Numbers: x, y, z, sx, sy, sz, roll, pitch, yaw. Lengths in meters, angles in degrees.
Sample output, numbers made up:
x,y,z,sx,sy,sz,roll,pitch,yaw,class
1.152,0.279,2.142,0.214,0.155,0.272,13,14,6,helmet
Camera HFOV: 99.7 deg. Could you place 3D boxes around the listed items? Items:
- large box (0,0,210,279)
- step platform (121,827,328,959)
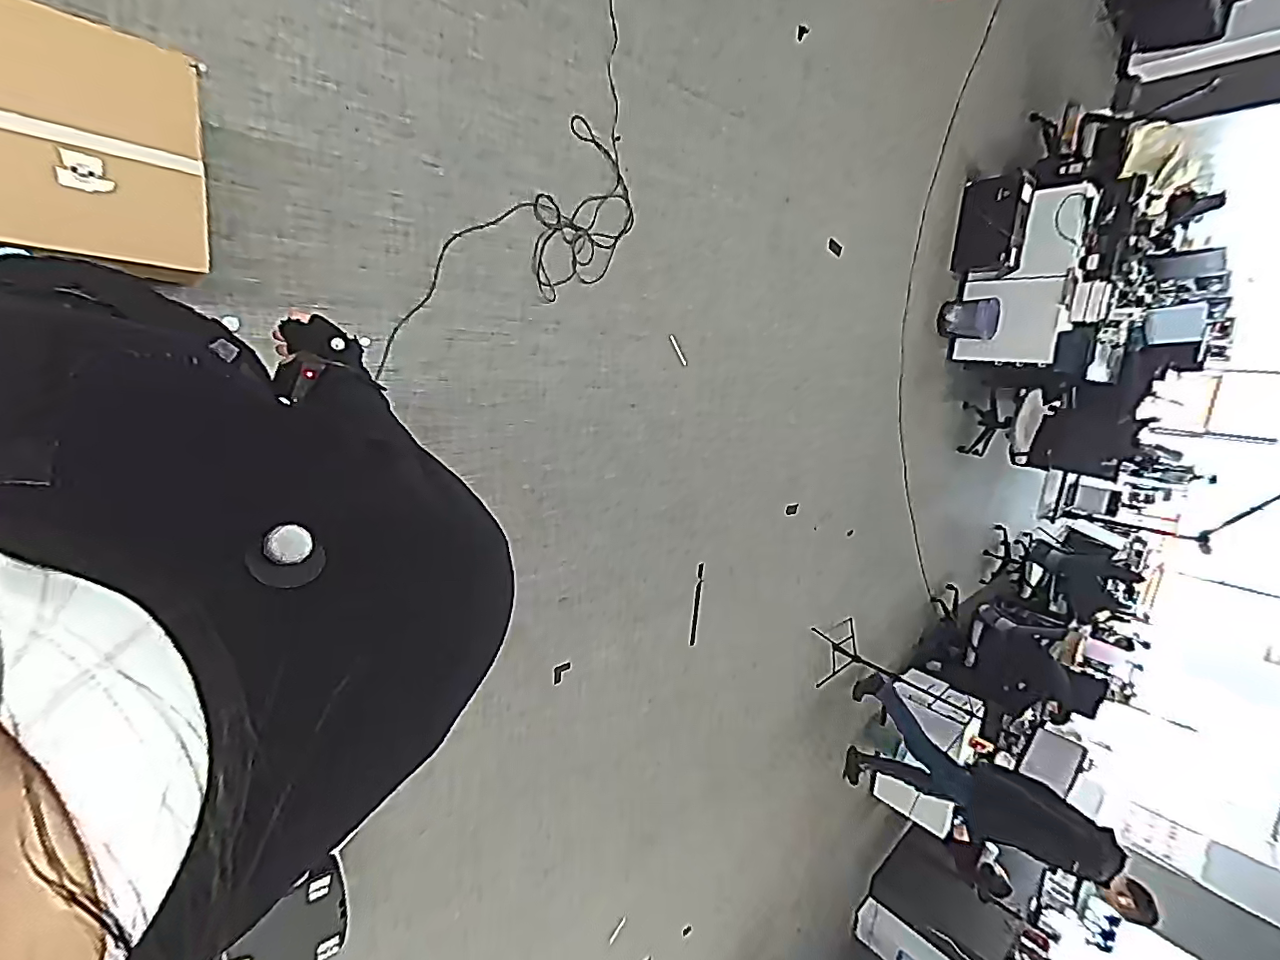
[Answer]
x,y,z,sx,sy,sz,roll,pitch,yaw,class
-0.940,-0.511,0.830,0.408,0.320,0.320,-5,106,-43,large box
-1.100,1.121,1.225,0.684,0.204,0.286,-9,108,-39,step platform
